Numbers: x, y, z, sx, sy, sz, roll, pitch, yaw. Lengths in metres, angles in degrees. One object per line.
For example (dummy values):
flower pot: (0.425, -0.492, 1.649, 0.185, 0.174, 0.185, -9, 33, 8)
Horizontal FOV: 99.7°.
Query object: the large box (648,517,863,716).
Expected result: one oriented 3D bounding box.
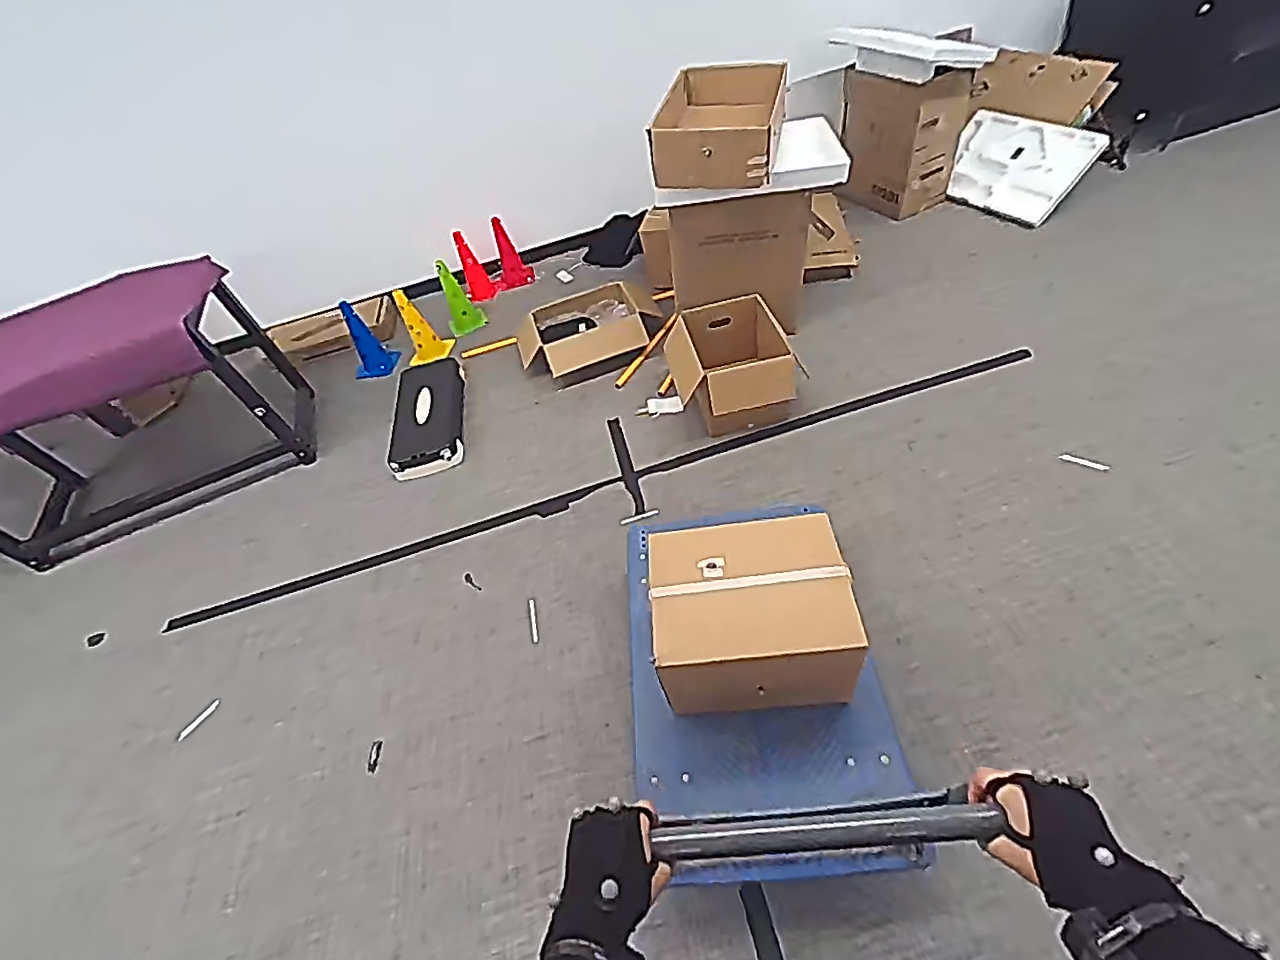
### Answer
large box: (0.249, 0.323, 1.243, 0.408, 0.320, 0.320, -9, 48, 7)
